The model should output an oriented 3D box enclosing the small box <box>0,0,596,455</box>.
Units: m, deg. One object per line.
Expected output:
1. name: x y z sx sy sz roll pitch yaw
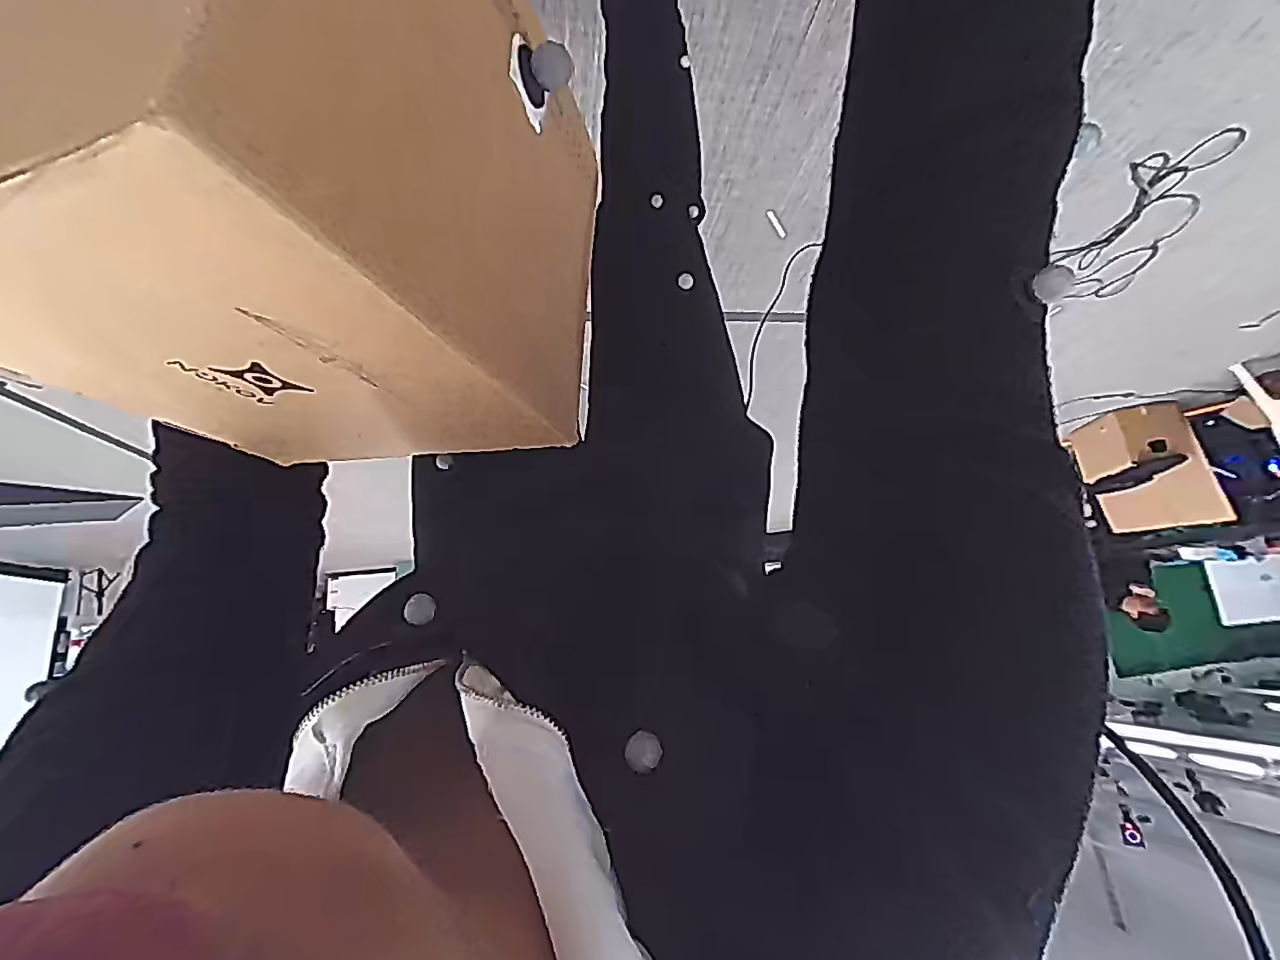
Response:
1. small box: -0.129 -0.120 0.222 0.179 0.176 0.168 -4 163 19
